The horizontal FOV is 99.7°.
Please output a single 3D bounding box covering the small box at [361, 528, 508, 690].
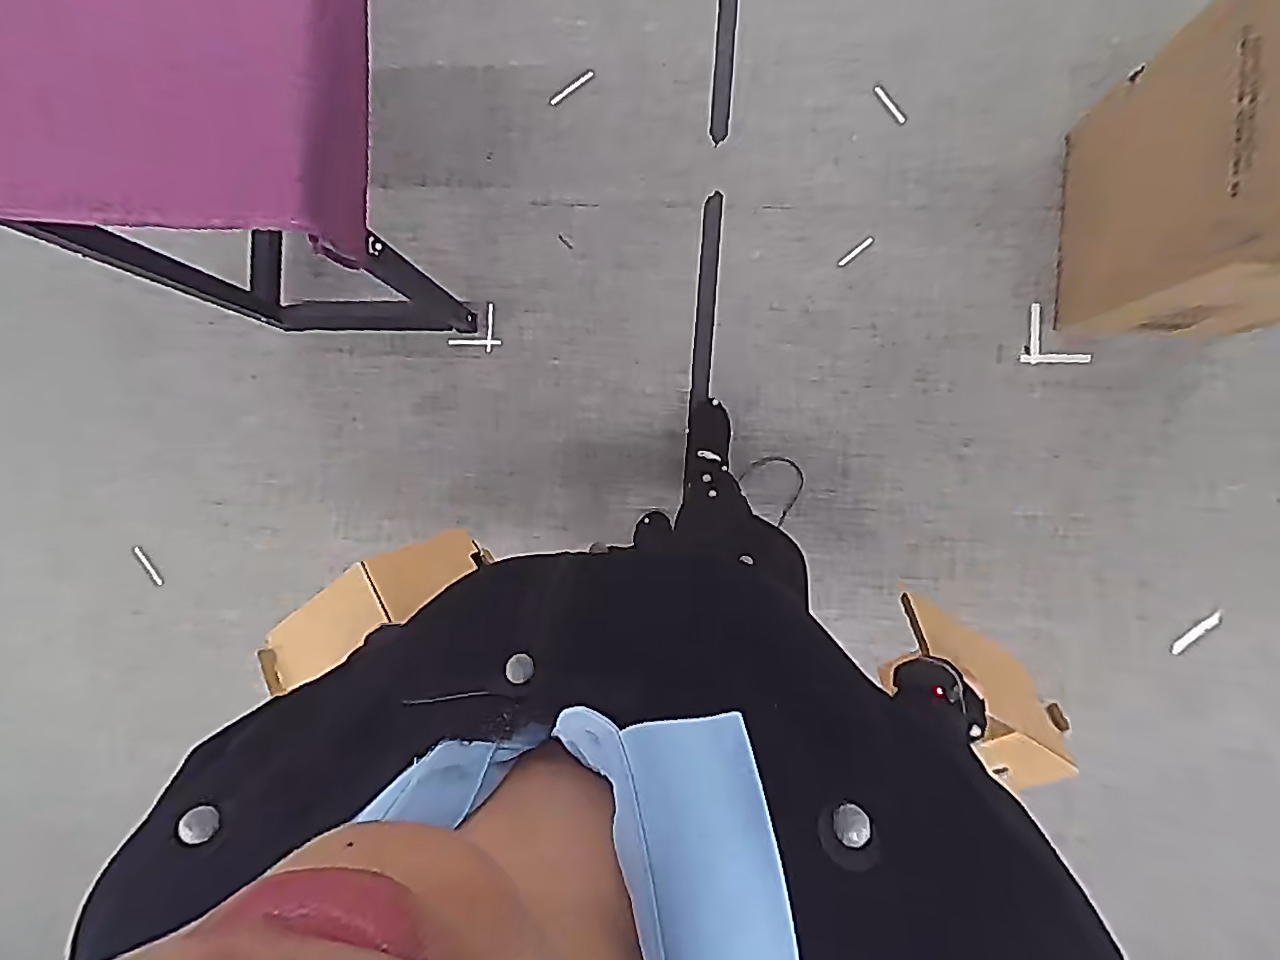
[{"bbox_3d":[-0.340,0.213,0.898,0.168,0.179,0.176,48,137,30],"label":"small box"}]
